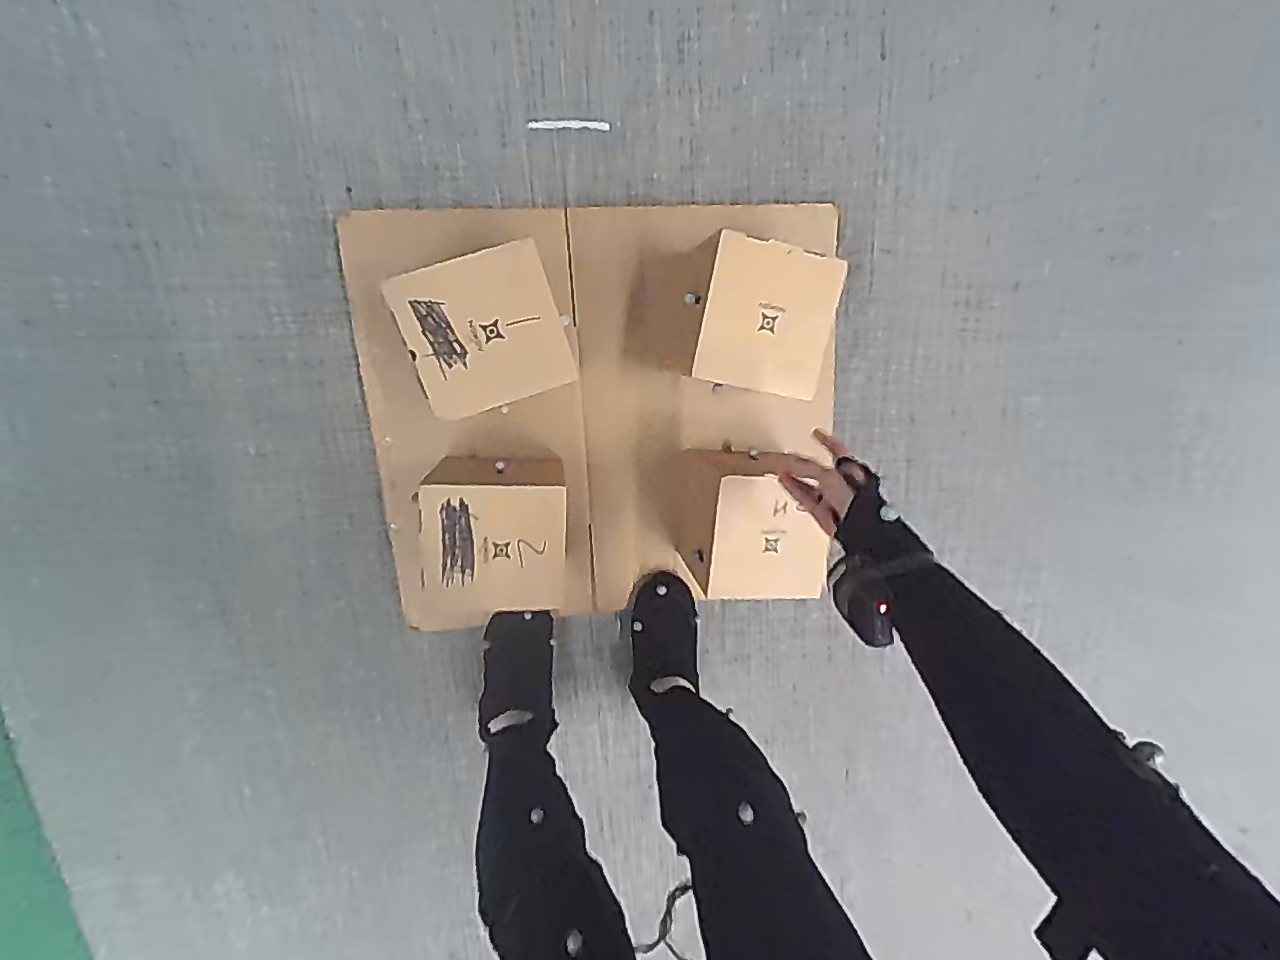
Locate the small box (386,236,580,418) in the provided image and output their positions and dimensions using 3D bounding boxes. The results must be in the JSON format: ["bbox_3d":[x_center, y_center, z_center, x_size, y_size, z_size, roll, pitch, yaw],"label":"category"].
[{"bbox_3d":[-0.186,-0.186,0.689,0.179,0.176,0.168,-19,105,-6],"label":"small box"}]

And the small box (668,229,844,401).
[{"bbox_3d":[0.143,-0.212,0.735,0.168,0.176,0.179,9,100,-11],"label":"small box"}]

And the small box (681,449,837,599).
[{"bbox_3d":[0.162,0.058,0.796,0.168,0.176,0.179,3,102,-10],"label":"small box"}]
